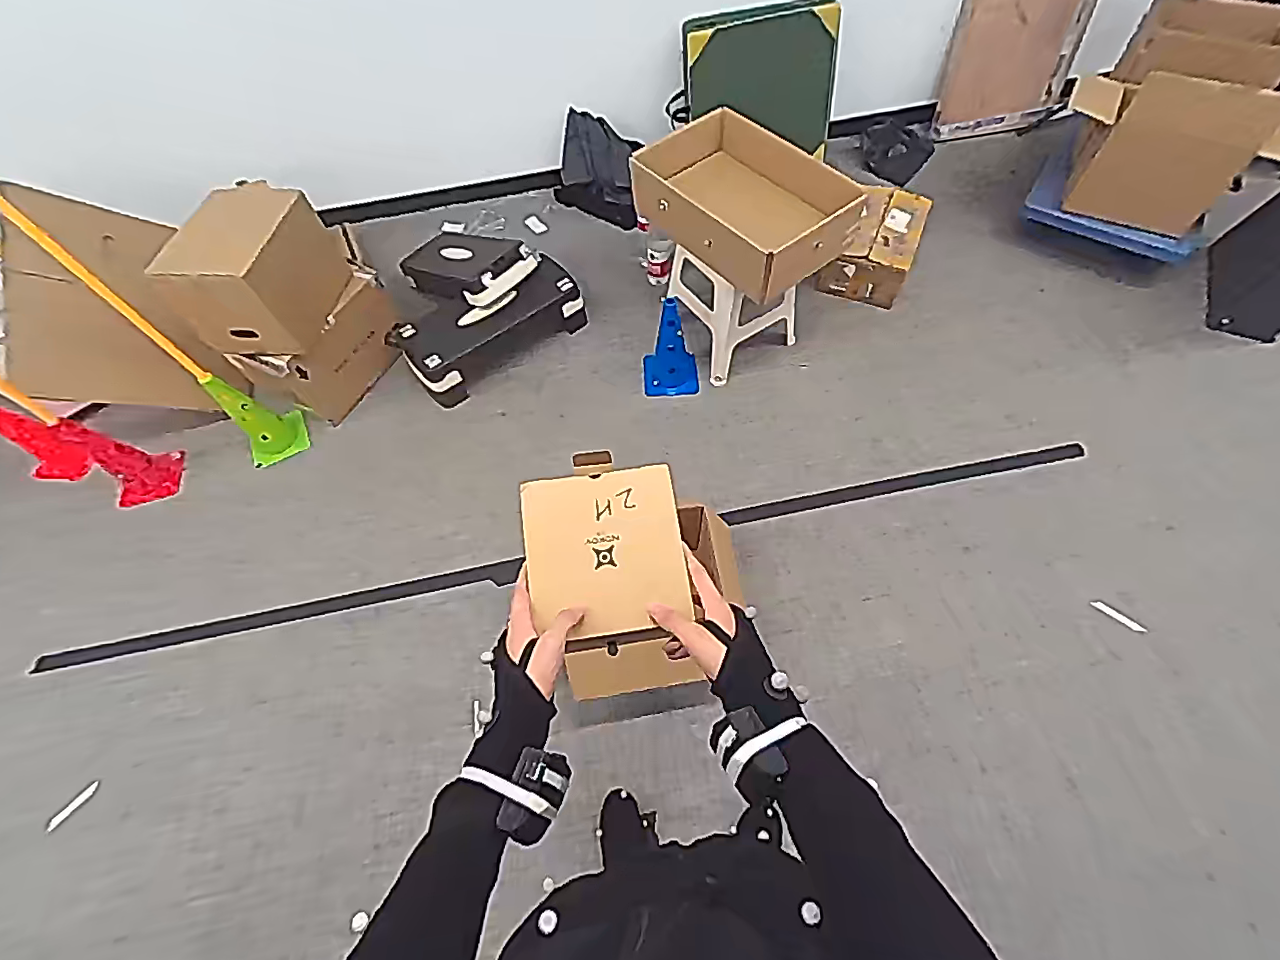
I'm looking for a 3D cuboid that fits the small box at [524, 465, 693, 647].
[{"bbox_3d":[-0.038,0.100,0.647,0.168,0.176,0.179,-7,70,-5],"label":"small box"}]
